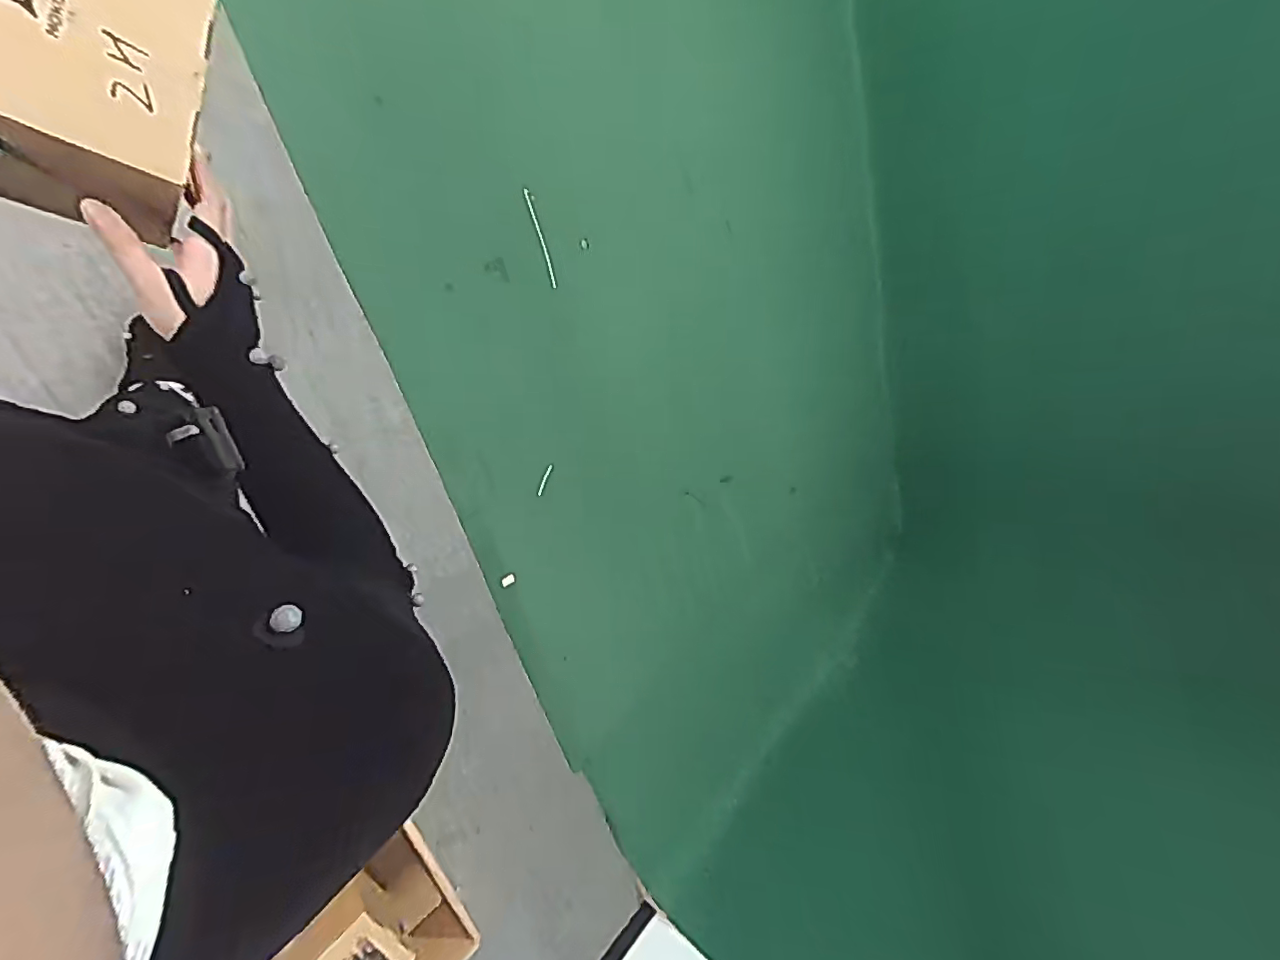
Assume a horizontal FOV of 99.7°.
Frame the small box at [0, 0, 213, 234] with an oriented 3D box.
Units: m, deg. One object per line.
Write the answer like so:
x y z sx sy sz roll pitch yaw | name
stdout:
-0.450 -0.313 0.404 0.179 0.176 0.168 9 85 -45 | small box
